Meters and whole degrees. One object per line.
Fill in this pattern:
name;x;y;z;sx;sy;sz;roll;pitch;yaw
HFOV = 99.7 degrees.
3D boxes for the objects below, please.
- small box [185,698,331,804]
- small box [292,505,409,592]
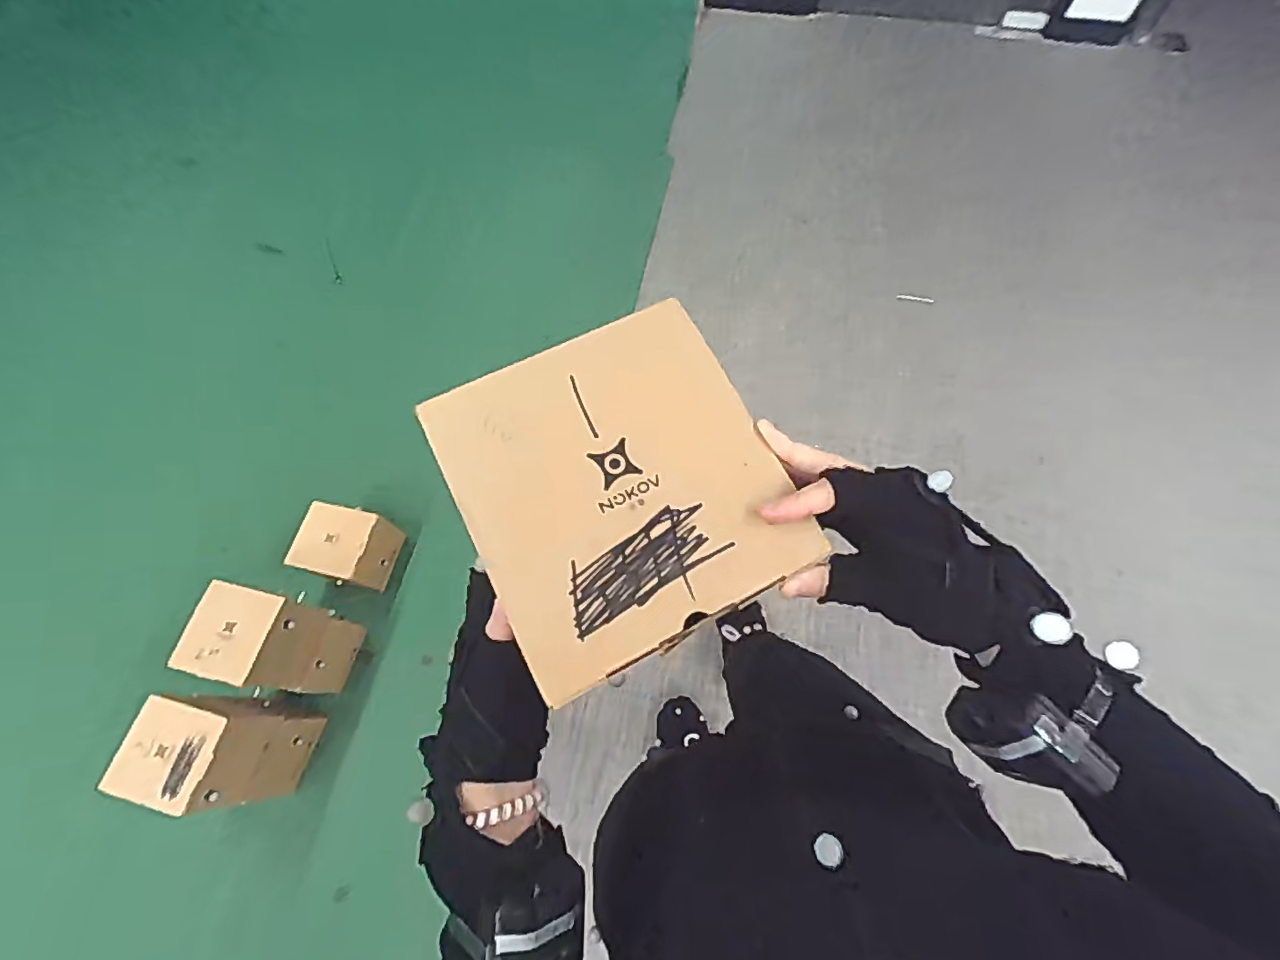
small box;-0.848;0.600;1.222;0.179;0.176;0.168;15;69;8
small box;-0.734;0.181;1.389;0.179;0.176;0.168;11;68;6
